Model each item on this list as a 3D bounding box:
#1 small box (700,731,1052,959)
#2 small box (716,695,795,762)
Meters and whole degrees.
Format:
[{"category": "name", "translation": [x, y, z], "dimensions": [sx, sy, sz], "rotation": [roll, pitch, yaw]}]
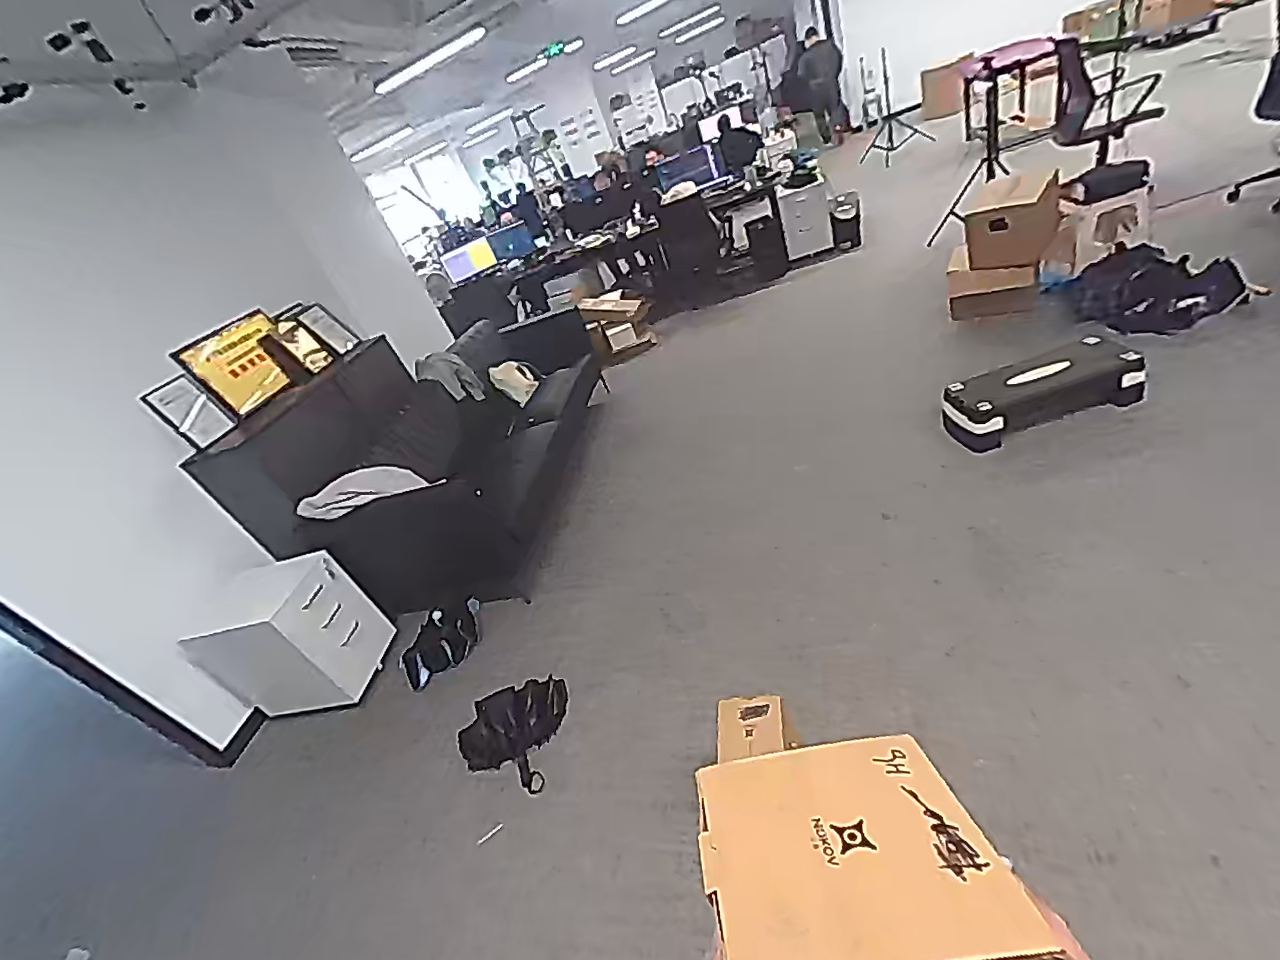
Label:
[{"category": "small box", "translation": [0.148, 0.312, 0.375], "dimensions": [0.179, 0.176, 0.168], "rotation": [-10, 12, 3]}, {"category": "small box", "translation": [0.300, 0.682, 1.386], "dimensions": [0.168, 0.176, 0.179], "rotation": [-14, 34, 19]}]
